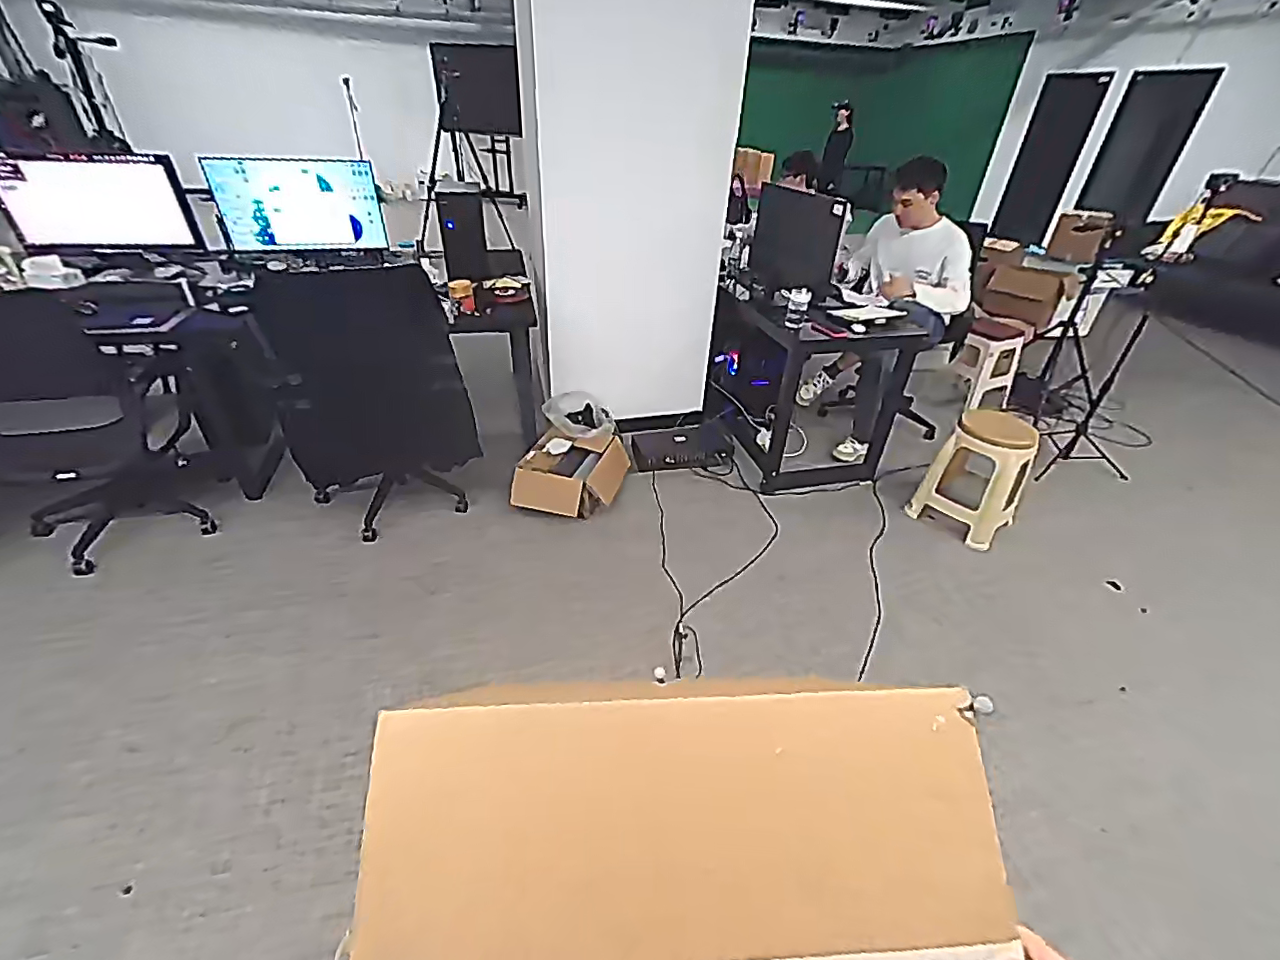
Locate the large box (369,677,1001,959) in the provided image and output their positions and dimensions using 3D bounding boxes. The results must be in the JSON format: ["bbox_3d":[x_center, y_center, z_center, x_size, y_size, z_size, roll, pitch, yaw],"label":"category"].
[{"bbox_3d":[0.023,0.352,0.475,0.408,0.320,0.320,-1,73,-5],"label":"large box"}]
